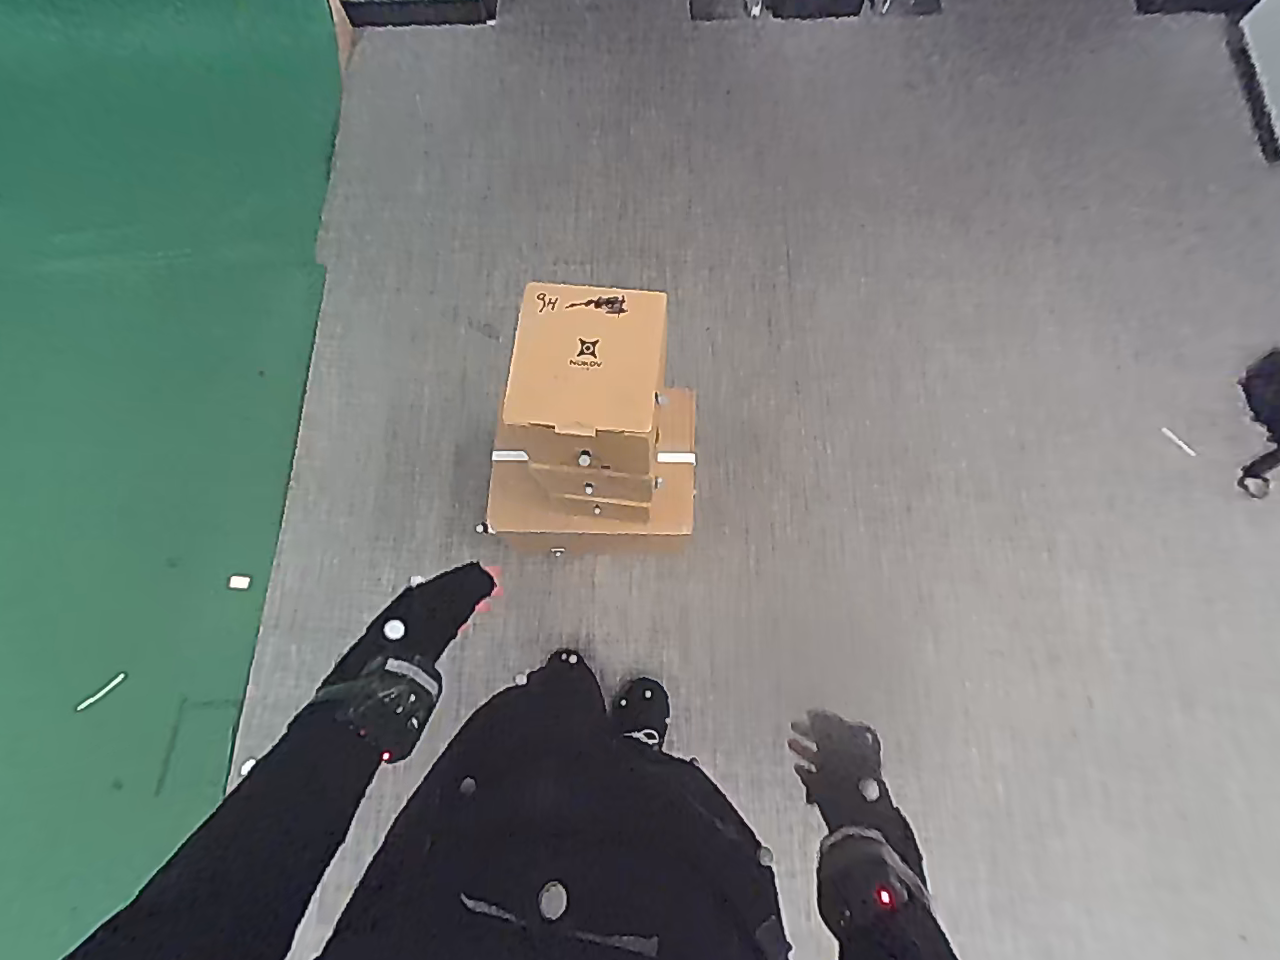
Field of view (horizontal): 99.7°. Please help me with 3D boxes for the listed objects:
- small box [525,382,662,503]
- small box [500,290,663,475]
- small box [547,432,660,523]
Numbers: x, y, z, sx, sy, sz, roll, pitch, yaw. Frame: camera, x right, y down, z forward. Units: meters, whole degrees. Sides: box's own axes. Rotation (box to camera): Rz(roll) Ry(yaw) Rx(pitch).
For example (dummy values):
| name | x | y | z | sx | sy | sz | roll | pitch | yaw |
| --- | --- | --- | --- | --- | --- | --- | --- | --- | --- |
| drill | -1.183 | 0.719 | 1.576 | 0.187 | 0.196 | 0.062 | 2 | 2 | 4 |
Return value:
| name | x | y | z | sx | sy | sz | roll | pitch | yaw |
| --- | --- | --- | --- | --- | --- | --- | --- | --- | --- |
| small box | -0.061 | -0.063 | 0.837 | 0.179 | 0.176 | 0.168 | 6 | 77 | 4 |
| small box | -0.060 | -0.111 | 0.680 | 0.168 | 0.176 | 0.179 | 6 | 77 | 3 |
| small box | -0.060 | -0.020 | 0.995 | 0.179 | 0.176 | 0.168 | 7 | 77 | 1 |
